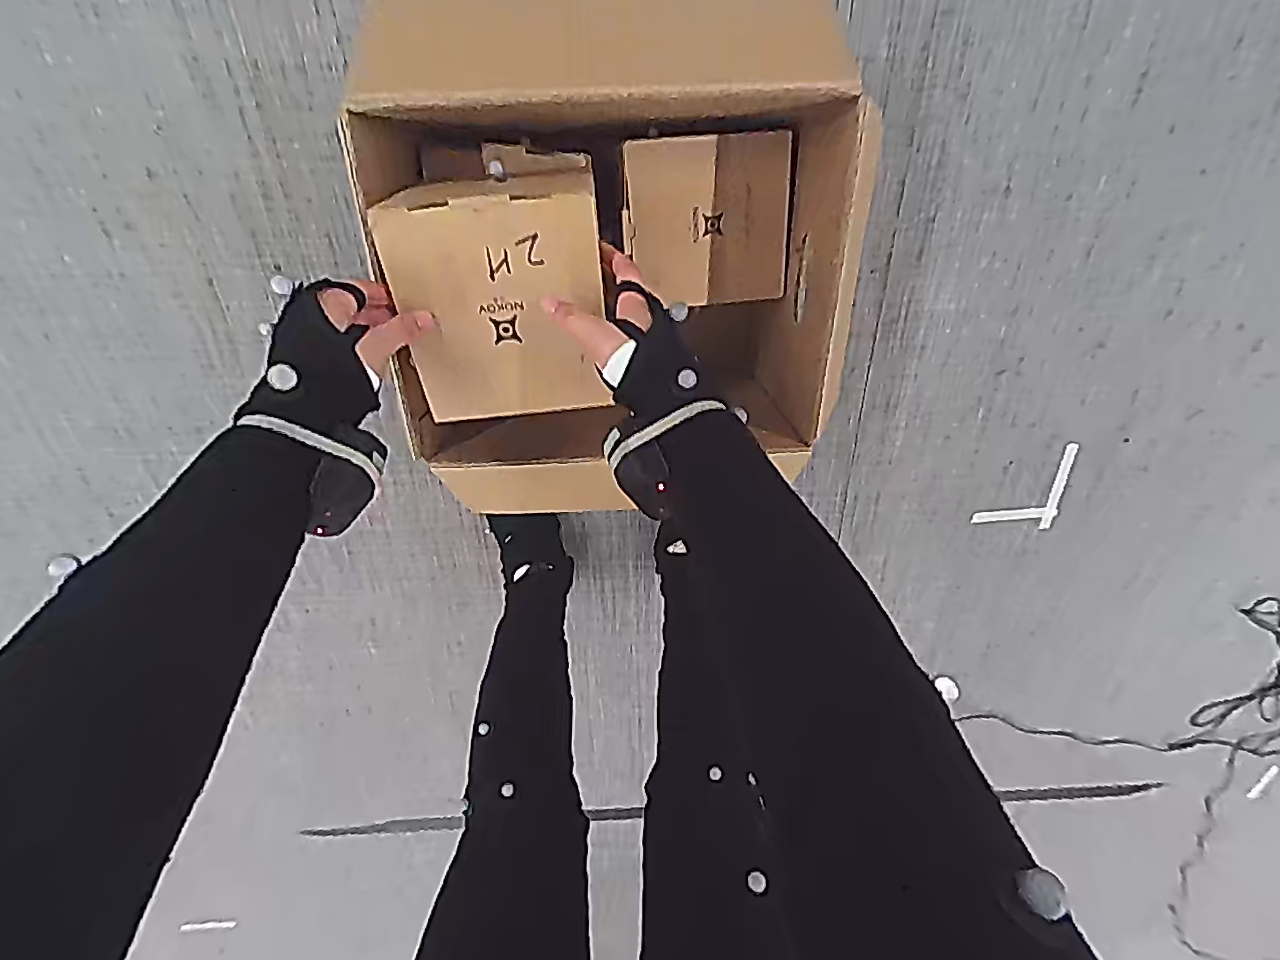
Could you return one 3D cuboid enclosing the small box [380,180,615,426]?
[{"bbox_3d":[-0.113,-0.173,0.518,0.168,0.176,0.179,-7,125,-1],"label":"small box"}]
